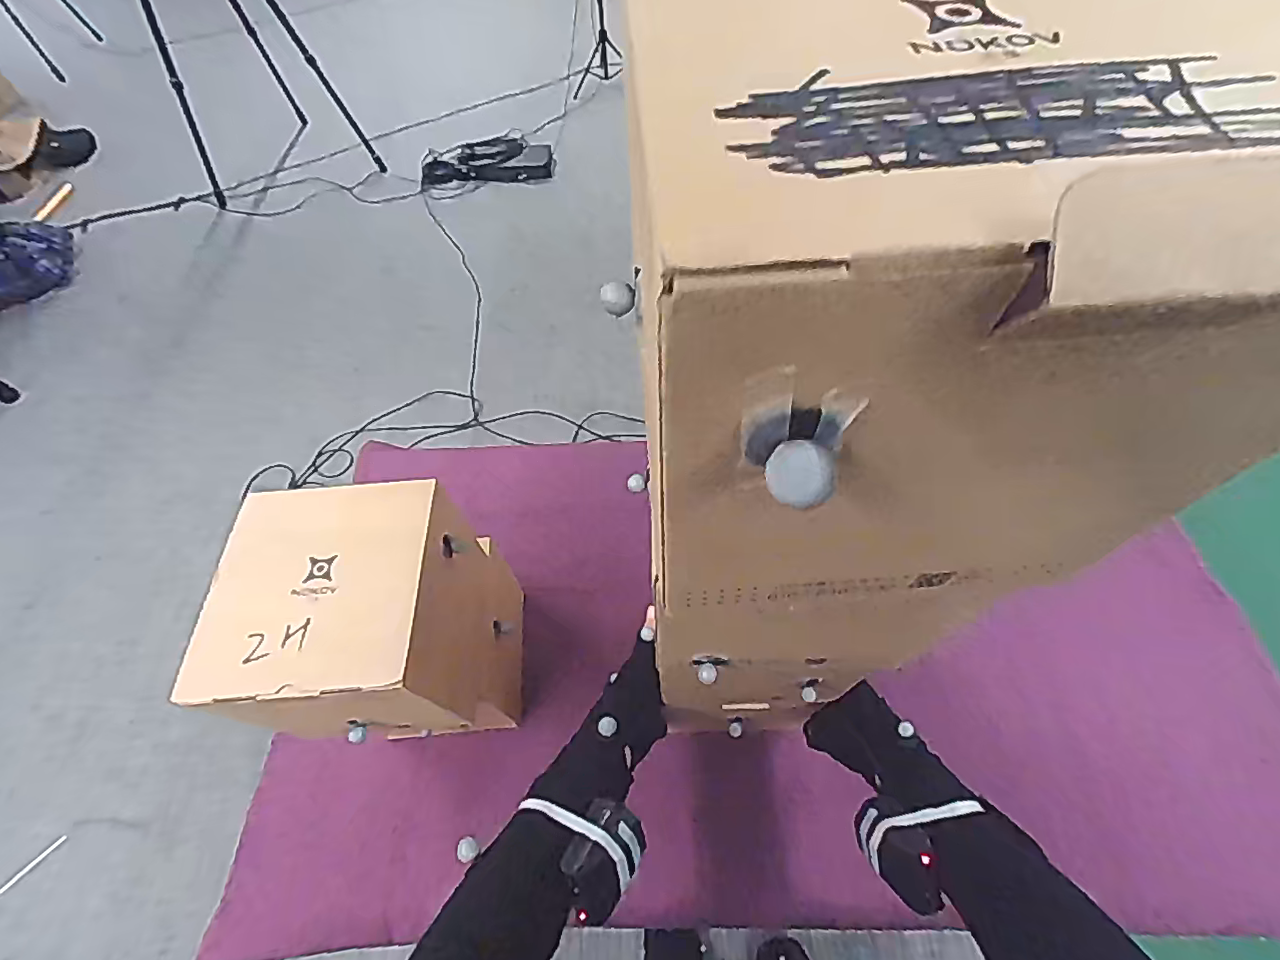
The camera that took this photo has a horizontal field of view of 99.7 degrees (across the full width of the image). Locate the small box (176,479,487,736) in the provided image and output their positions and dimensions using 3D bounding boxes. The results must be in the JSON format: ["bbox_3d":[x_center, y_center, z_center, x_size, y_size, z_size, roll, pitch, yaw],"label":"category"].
[{"bbox_3d":[-0.244,0.120,0.486,0.168,0.176,0.179,-5,58,0],"label":"small box"}]

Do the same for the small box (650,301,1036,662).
[{"bbox_3d":[0.092,0.012,0.344,0.168,0.176,0.179,-2,57,1],"label":"small box"}]

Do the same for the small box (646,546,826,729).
[{"bbox_3d":[0.099,0.183,0.626,0.168,0.176,0.179,-5,57,1],"label":"small box"}]

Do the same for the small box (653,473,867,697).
[{"bbox_3d":[0.098,0.086,0.472,0.168,0.176,0.179,-3,57,1],"label":"small box"}]

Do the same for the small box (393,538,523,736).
[{"bbox_3d":[-0.238,0.189,0.637,0.168,0.176,0.179,-6,58,-1],"label":"small box"}]
